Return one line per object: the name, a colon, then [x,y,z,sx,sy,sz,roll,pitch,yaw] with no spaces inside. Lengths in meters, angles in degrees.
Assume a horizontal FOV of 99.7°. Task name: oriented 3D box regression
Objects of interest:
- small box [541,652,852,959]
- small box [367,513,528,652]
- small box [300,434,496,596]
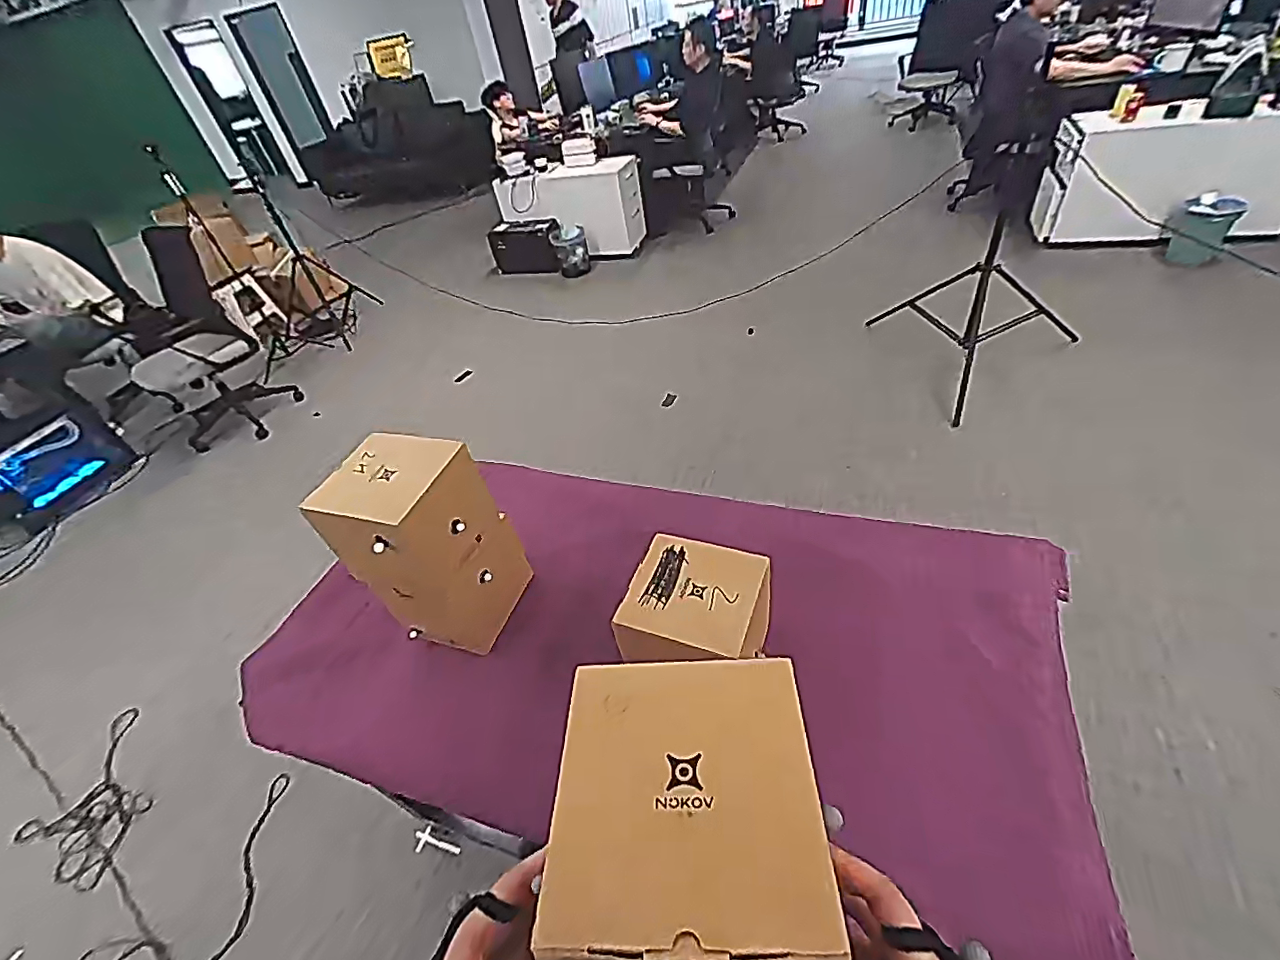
small box: [0.040,0.250,0.394,0.168,0.176,0.179,-5,36,6]
small box: [-0.314,0.167,0.927,0.168,0.176,0.179,7,45,20]
small box: [-0.345,0.053,0.811,0.179,0.176,0.168,7,45,19]
